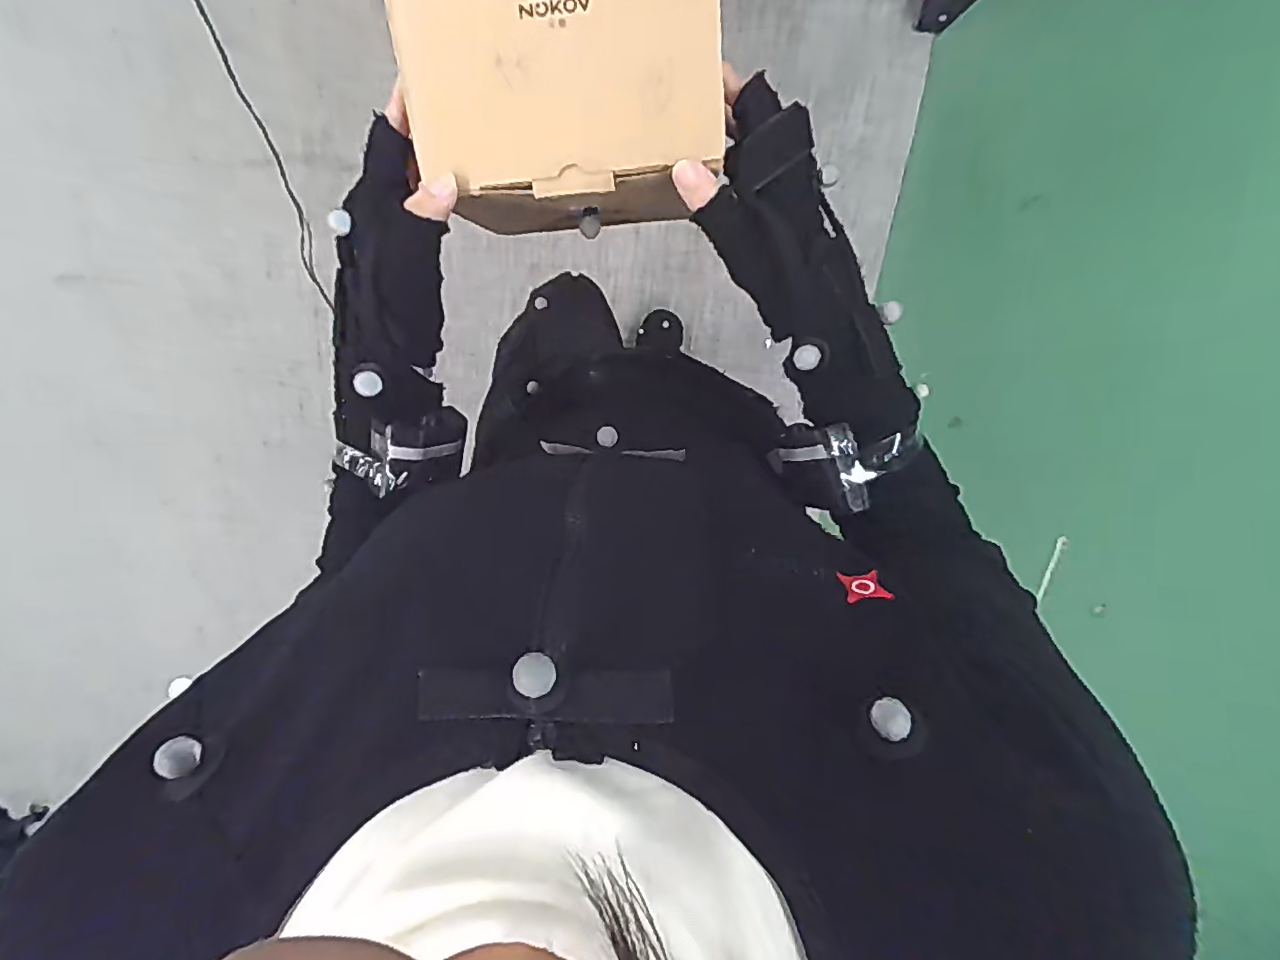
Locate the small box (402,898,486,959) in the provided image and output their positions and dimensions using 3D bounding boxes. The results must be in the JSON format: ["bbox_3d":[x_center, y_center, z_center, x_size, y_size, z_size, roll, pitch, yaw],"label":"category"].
[{"bbox_3d":[-0.545,1.321,1.522,0.179,0.176,0.168,4,108,-1],"label":"small box"}]

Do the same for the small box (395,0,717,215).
[{"bbox_3d":[-0.043,-0.279,0.349,0.168,0.176,0.179,-5,108,2],"label":"small box"}]
